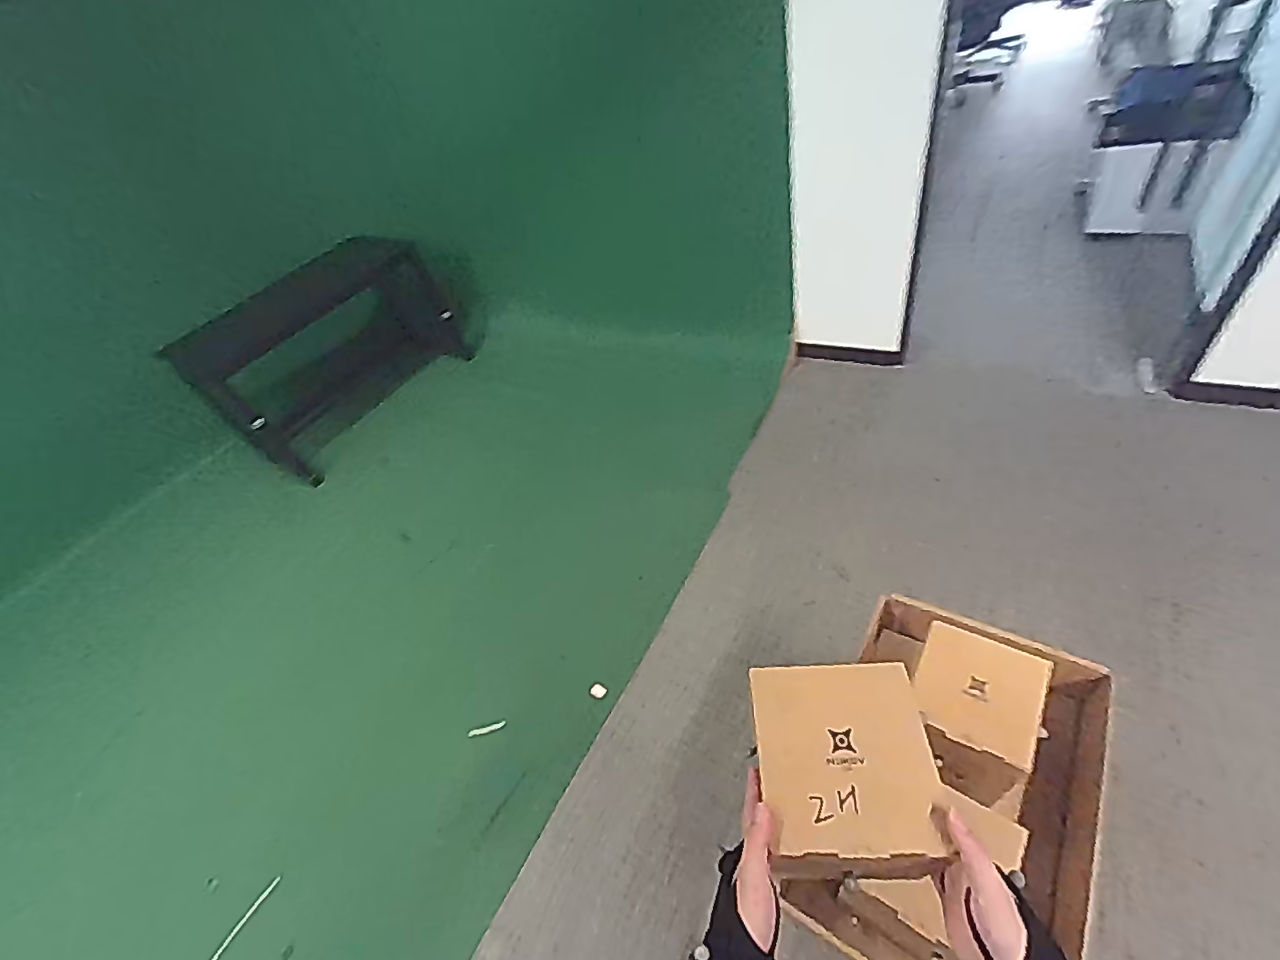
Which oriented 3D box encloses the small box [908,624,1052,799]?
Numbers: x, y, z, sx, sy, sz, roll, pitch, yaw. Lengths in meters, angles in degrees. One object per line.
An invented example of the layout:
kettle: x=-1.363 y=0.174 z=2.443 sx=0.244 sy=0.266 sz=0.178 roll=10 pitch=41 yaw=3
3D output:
small box: x=0.526 y=0.372 z=0.871 sx=0.168 sy=0.176 sz=0.179 roll=19 pitch=57 yaw=31

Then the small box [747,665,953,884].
small box: x=0.207 y=0.322 z=0.592 sx=0.168 sy=0.176 sz=0.179 roll=-5 pitch=48 yaw=8

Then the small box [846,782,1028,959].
small box: x=0.397 y=0.538 z=0.746 sx=0.168 sy=0.176 sz=0.179 roll=22 pitch=56 yaw=32

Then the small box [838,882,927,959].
small box: x=0.430 y=0.640 z=0.869 sx=0.168 sy=0.176 sz=0.179 roll=19 pitch=55 yaw=31
